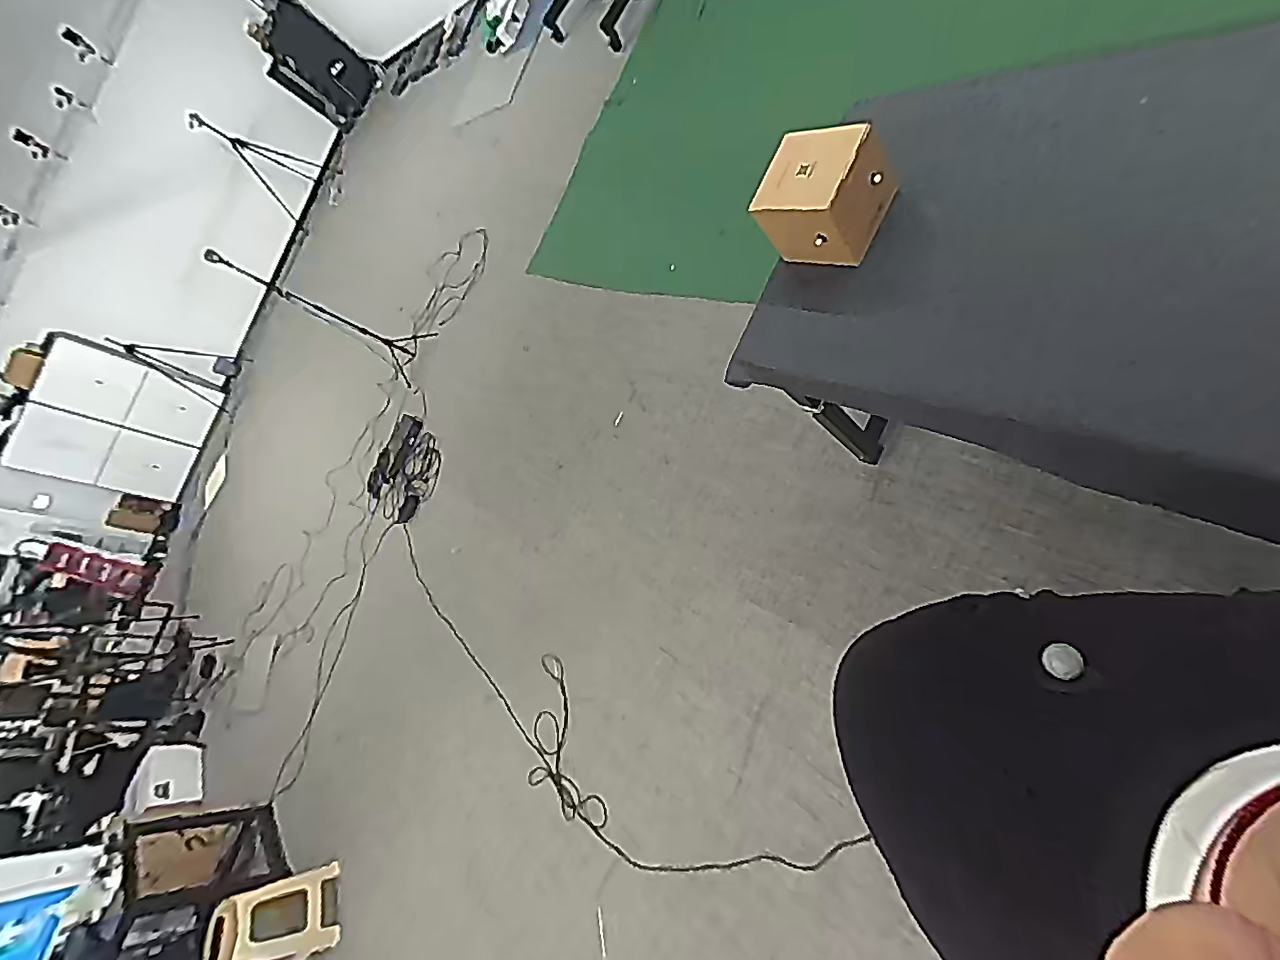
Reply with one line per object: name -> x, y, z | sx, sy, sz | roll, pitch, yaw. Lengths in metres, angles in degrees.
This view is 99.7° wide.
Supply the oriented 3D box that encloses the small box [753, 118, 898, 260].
small box -> 0.354, -0.537, 1.019 | 0.179, 0.176, 0.168 | 30, 92, 44
